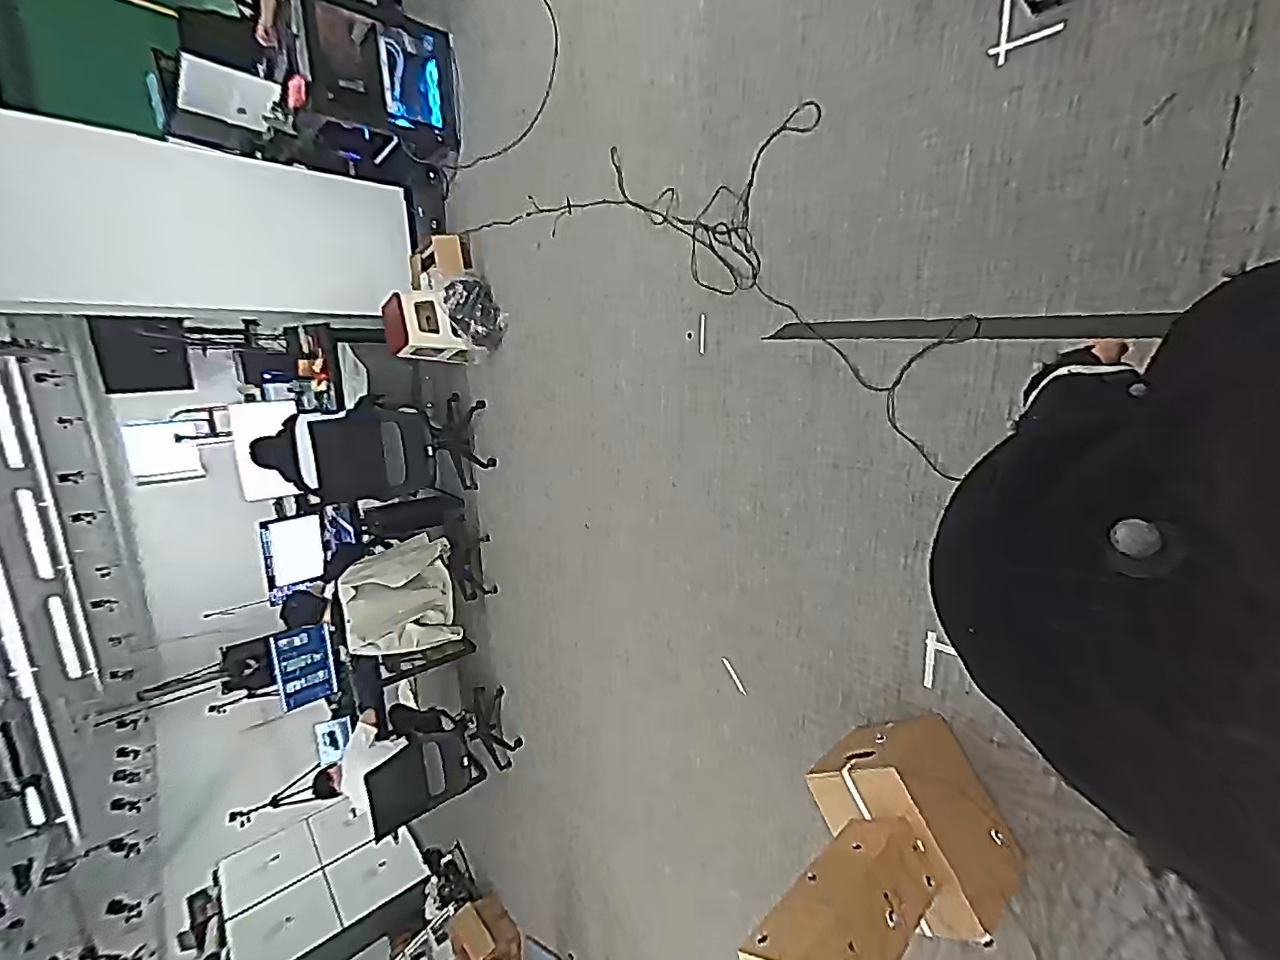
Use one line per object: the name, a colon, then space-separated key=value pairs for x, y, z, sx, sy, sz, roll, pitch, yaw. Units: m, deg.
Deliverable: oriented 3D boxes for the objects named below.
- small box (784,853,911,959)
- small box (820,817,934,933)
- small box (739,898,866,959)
small box: x=0.467 y=0.979 z=1.220 sx=0.179 sy=0.176 sz=0.168 roll=-38 pitch=71 yaw=46
small box: x=0.587 y=0.957 z=1.327 sx=0.179 sy=0.176 sz=0.168 roll=-43 pitch=67 yaw=46
small box: x=0.345 y=1.007 z=1.113 sx=0.179 sy=0.176 sz=0.168 roll=-40 pitch=71 yaw=47
